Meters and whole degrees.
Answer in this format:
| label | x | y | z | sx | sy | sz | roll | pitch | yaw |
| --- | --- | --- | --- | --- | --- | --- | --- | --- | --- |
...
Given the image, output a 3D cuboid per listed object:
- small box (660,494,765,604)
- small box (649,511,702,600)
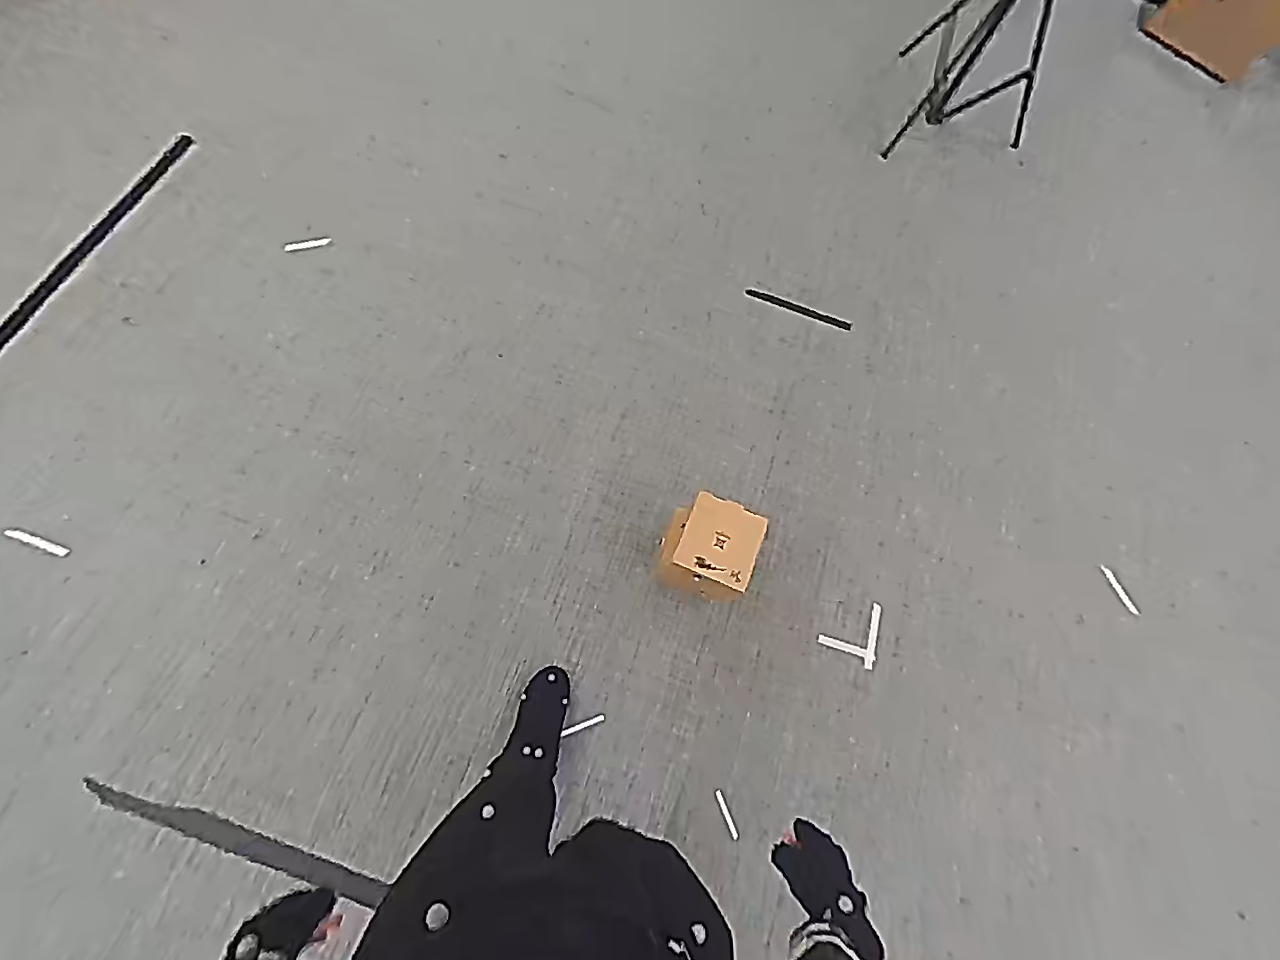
| label | x | y | z | sx | sy | sz | roll | pitch | yaw |
| --- | --- | --- | --- | --- | --- | --- | --- | --- | --- |
| small box | 0.157 | 0.162 | 1.224 | 0.168 | 0.176 | 0.179 | 24 | 68 | 1 |
| small box | 0.134 | 0.200 | 1.382 | 0.179 | 0.176 | 0.168 | 17 | 69 | 0 |
